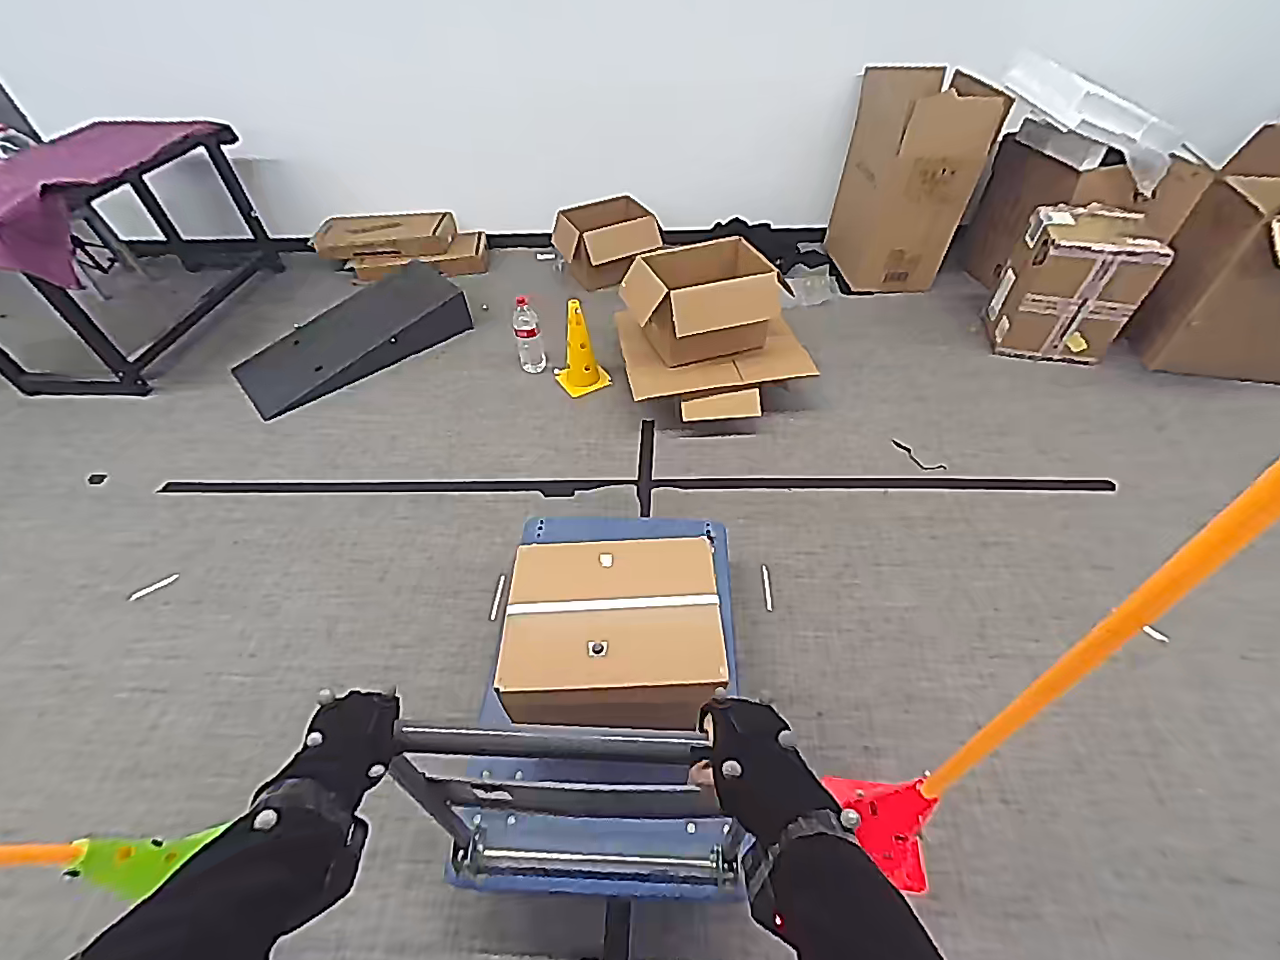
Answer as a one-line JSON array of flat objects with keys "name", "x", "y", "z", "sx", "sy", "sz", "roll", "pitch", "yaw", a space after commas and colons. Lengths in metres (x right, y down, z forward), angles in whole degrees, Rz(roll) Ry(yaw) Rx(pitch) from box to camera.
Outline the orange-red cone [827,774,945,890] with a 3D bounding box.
[{"name": "orange-red cone", "x": 0.510, "y": 0.648, "z": 1.053, "sx": 0.199, "sy": 0.360, "sz": 0.198, "roll": 6, "pitch": 49, "yaw": 7}]
